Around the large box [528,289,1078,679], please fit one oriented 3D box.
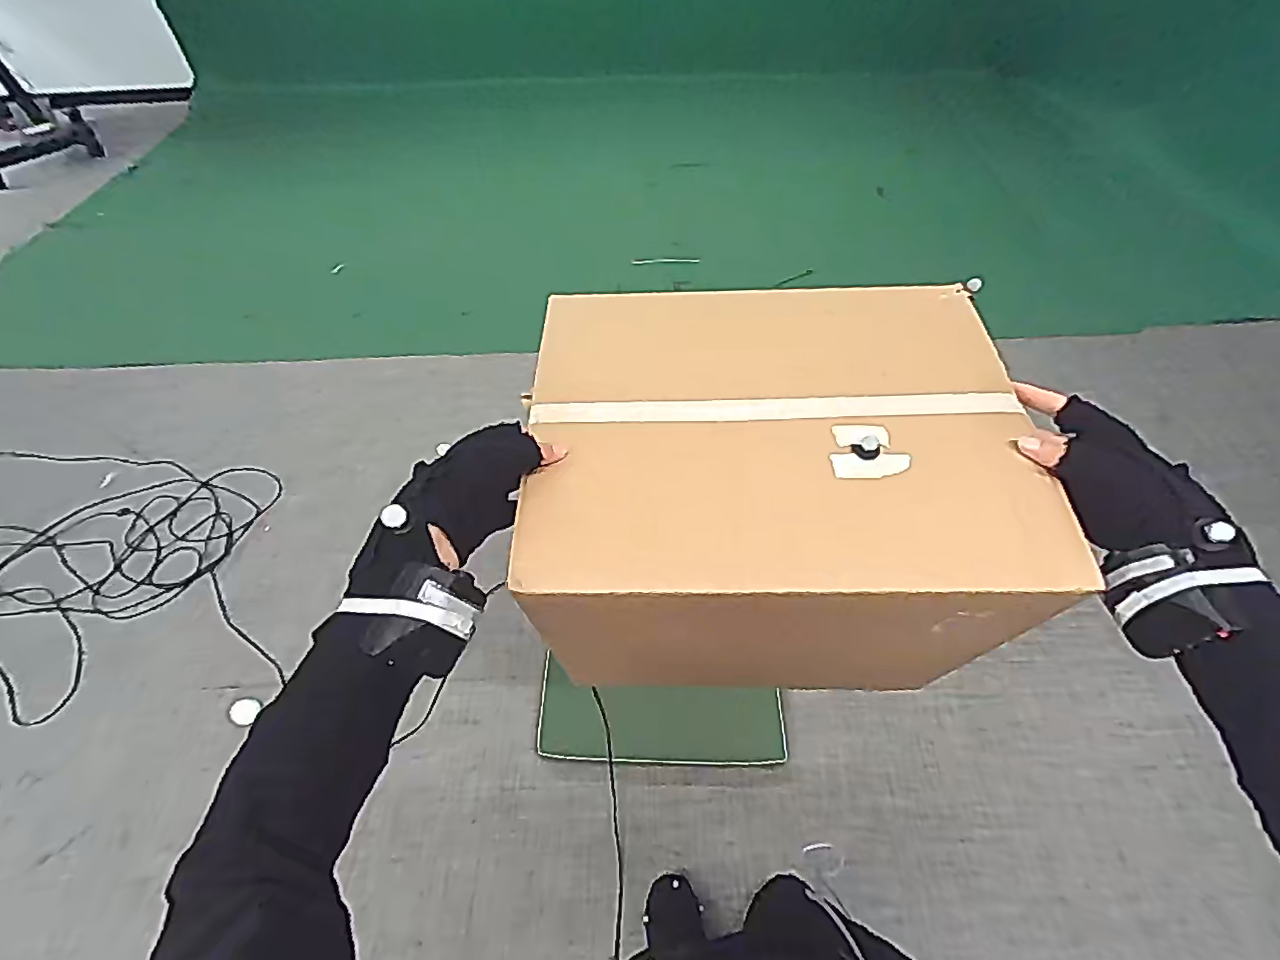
[{"bbox_3d":[0.116,0.021,0.590,0.408,0.320,0.320,-1,58,1],"label":"large box"}]
